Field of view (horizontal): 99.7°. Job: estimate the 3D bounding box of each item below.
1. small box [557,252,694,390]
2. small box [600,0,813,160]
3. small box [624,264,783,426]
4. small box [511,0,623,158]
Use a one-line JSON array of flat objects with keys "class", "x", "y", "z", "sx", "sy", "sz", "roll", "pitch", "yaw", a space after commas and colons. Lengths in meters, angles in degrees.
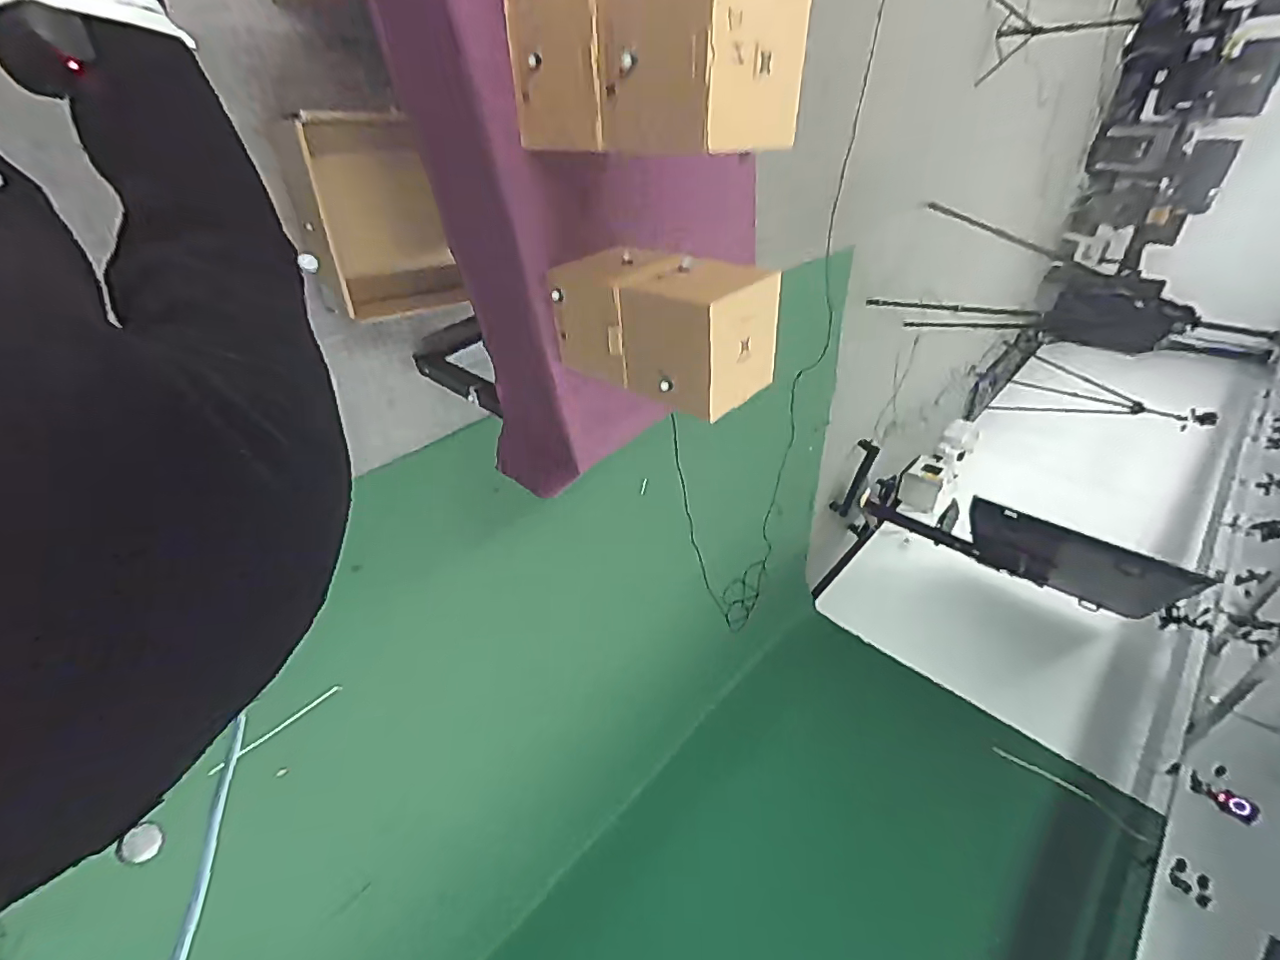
[{"class": "small box", "x": -0.024, "y": -0.275, "z": 0.915, "sx": 0.179, "sy": 0.176, "sz": 0.168, "roll": -35, "pitch": 135, "yaw": -33}, {"class": "small box", "x": 0.074, "y": -0.476, "z": 0.634, "sx": 0.179, "sy": 0.176, "sz": 0.168, "roll": -28, "pitch": 131, "yaw": -35}, {"class": "small box", "x": 0.093, "y": -0.212, "z": 0.820, "sx": 0.168, "sy": 0.176, "sz": 0.179, "roll": -34, "pitch": 134, "yaw": -33}, {"class": "small box", "x": -0.047, "y": -0.536, "z": 0.728, "sx": 0.179, "sy": 0.176, "sz": 0.168, "roll": -29, "pitch": 132, "yaw": -34}]
